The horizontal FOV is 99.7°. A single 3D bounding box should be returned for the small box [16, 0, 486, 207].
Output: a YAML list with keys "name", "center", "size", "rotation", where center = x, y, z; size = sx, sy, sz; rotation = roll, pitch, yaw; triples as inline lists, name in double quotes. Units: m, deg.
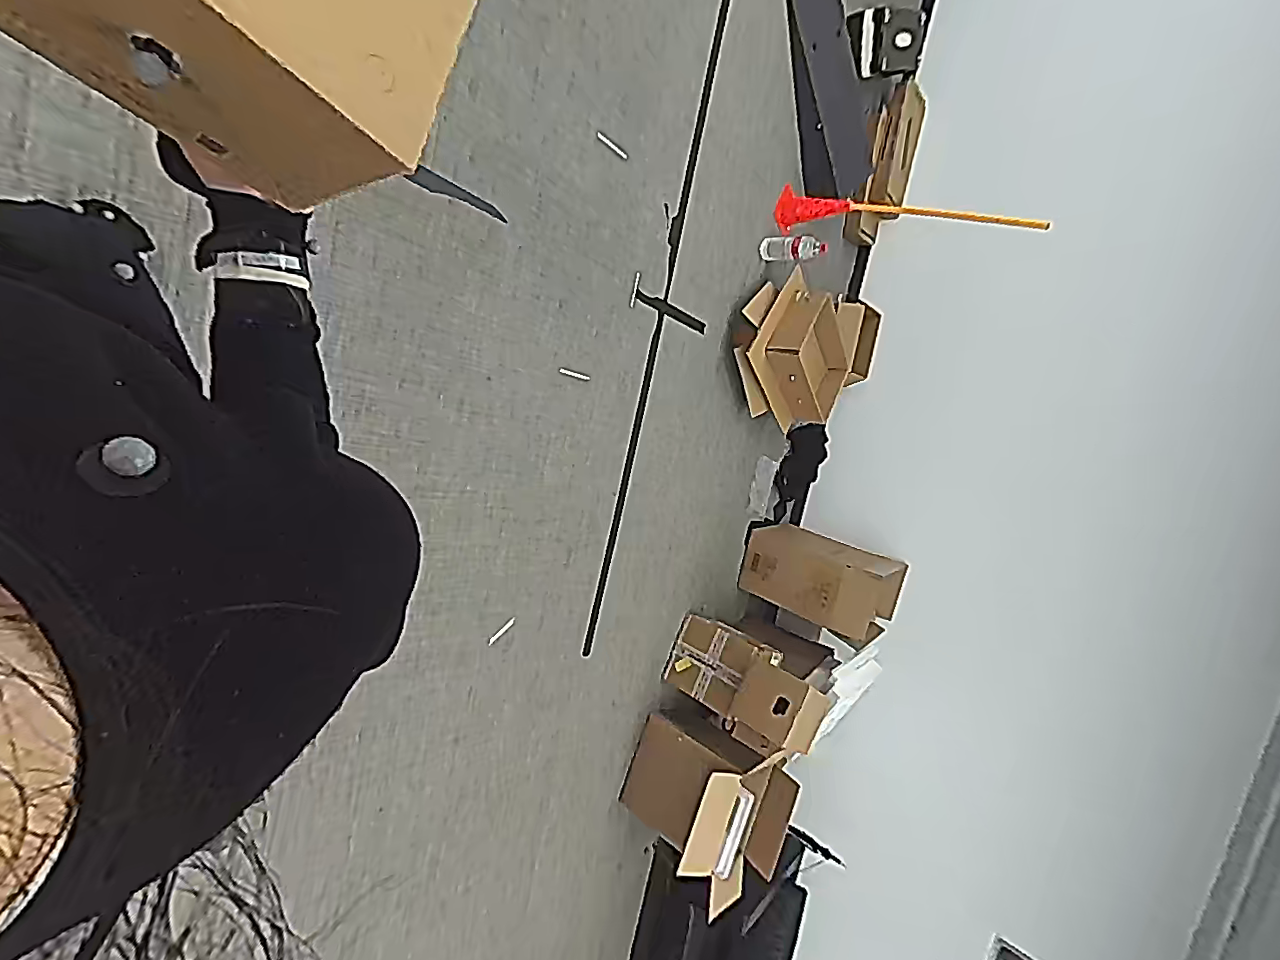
- name: "small box"
  center: [-0.217, -0.294, 0.316]
  size: [0.168, 0.176, 0.179]
  rotation: [26, 76, -53]
